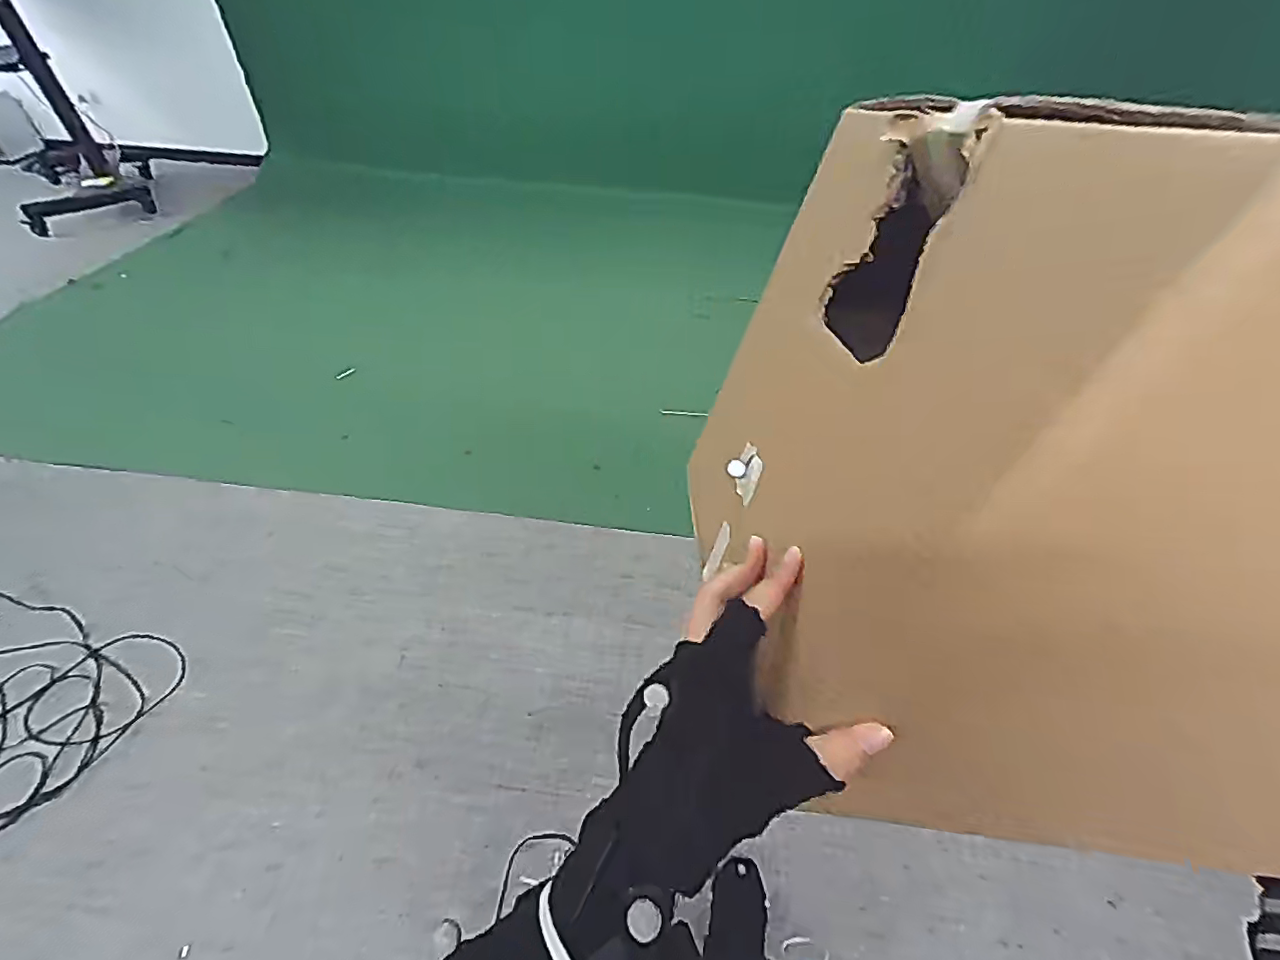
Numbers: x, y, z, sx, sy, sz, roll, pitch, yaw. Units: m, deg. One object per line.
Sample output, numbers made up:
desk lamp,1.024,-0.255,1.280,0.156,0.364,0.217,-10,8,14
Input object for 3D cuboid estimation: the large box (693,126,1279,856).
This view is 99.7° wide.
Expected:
large box,0.290,0.009,0.368,0.408,0.320,0.320,15,34,-12
